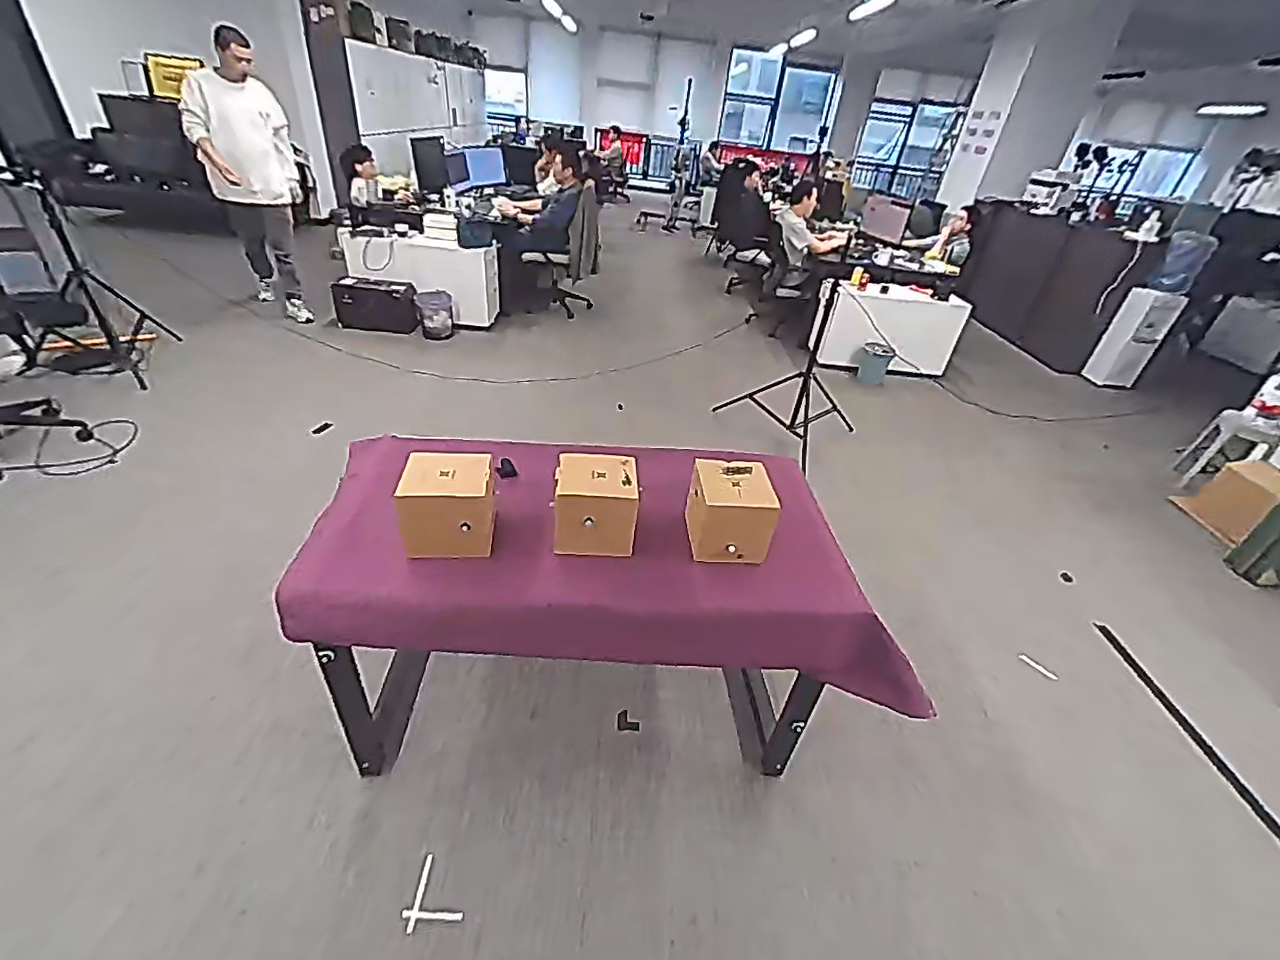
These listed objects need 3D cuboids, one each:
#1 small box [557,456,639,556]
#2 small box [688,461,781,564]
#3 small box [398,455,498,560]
[{"bbox_3d":[-0.097,0.060,1.240,0.179,0.176,0.168,2,34,-6],"label":"small box"},{"bbox_3d":[0.212,0.075,1.268,0.168,0.176,0.179,2,35,-6],"label":"small box"},{"bbox_3d":[-0.409,0.060,1.186,0.179,0.176,0.168,-1,33,-9],"label":"small box"}]
